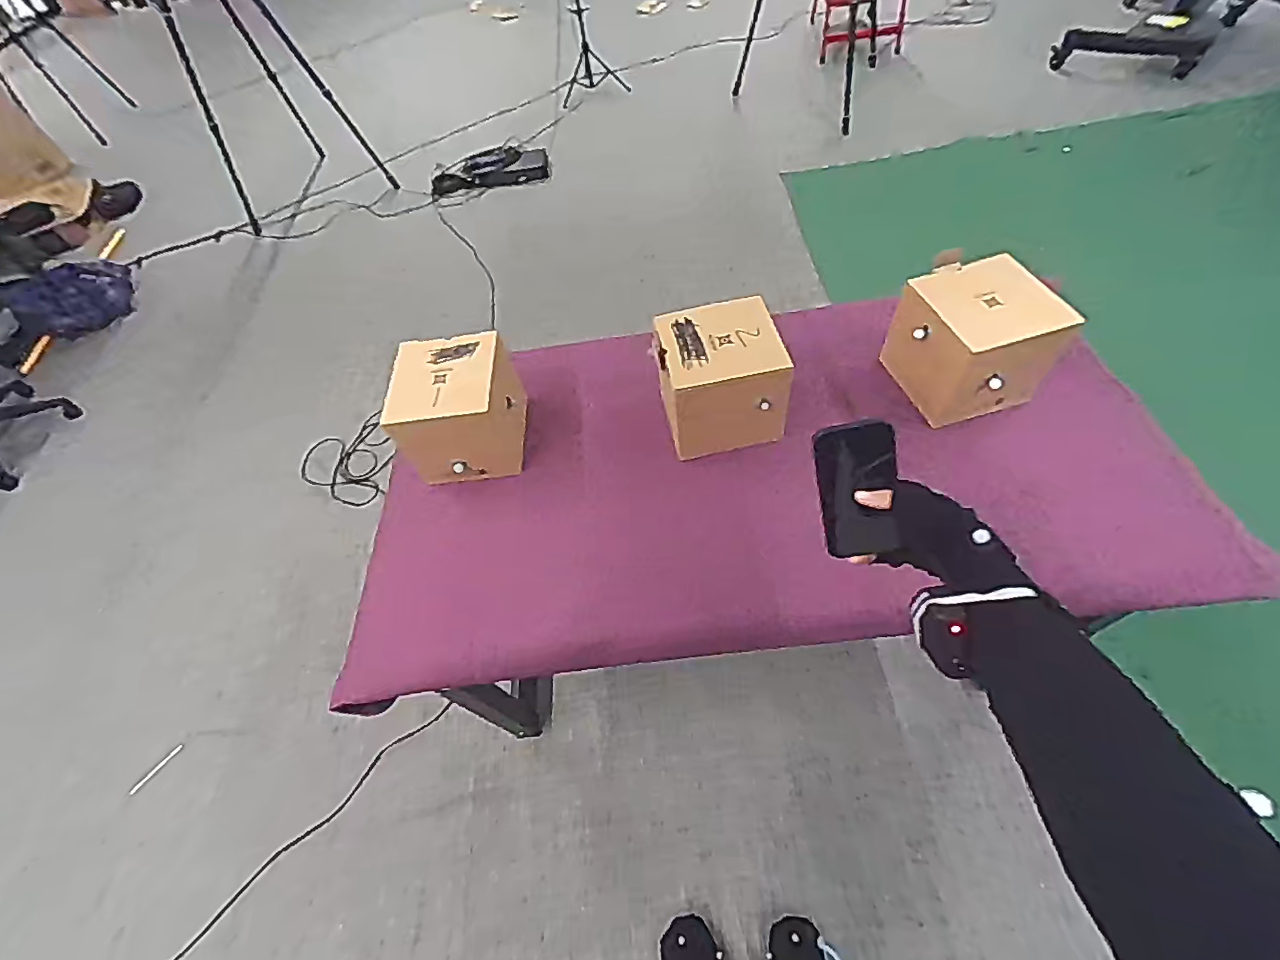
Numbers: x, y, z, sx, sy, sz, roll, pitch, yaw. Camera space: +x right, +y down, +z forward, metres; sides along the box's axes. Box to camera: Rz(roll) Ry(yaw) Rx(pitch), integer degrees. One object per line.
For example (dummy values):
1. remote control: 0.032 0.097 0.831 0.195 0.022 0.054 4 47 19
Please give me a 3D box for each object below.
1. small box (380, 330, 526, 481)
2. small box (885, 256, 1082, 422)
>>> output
1. small box: -0.293 -0.119 0.893 0.168 0.176 0.179 -6 57 4
2. small box: 0.514 -0.210 0.843 0.168 0.176 0.179 -16 55 -2
